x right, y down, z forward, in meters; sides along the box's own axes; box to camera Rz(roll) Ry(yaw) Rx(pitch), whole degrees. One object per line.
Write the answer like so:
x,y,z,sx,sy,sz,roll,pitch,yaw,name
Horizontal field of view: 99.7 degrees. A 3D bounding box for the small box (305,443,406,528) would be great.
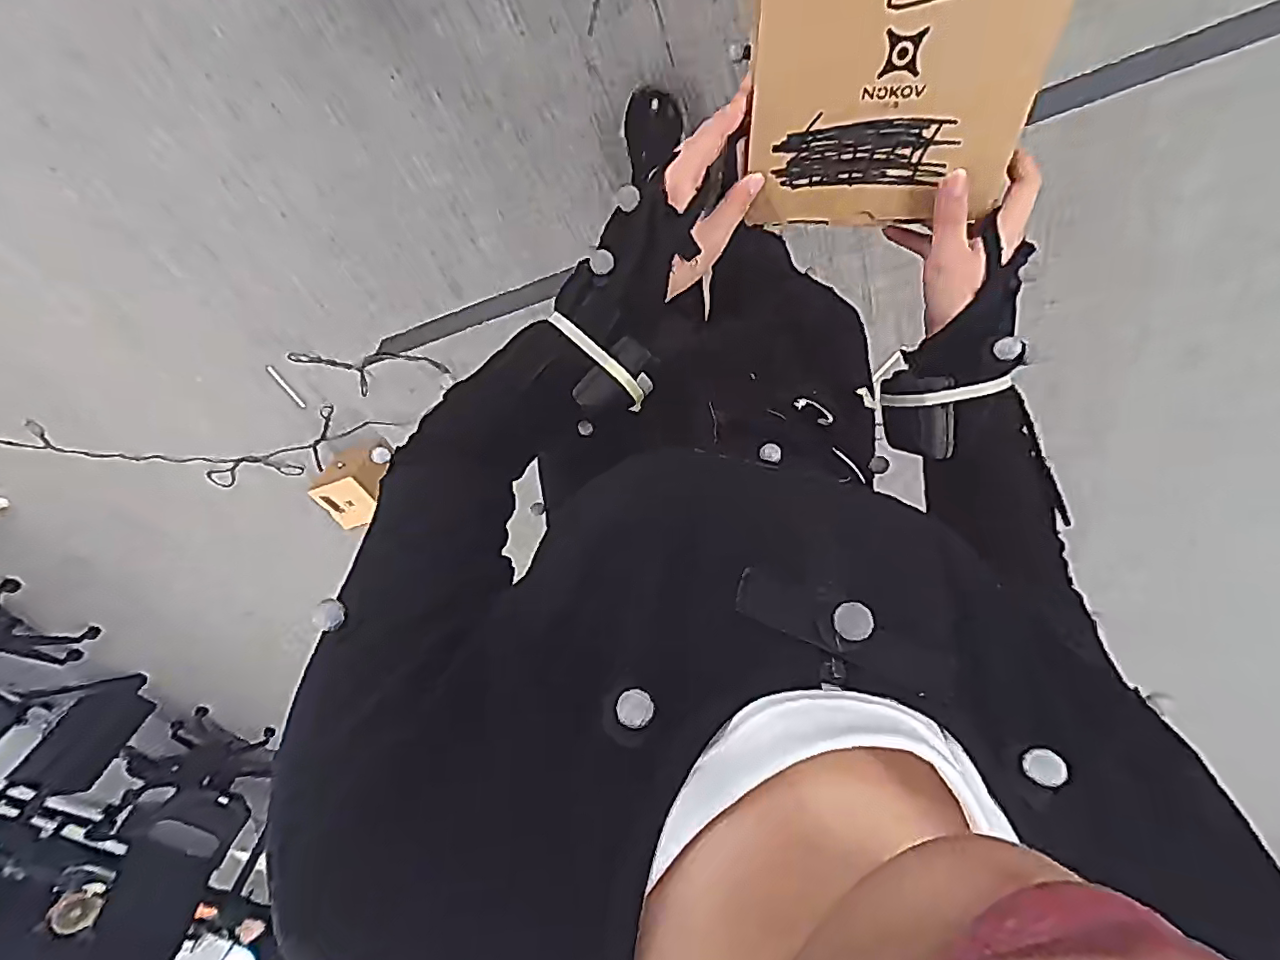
-0.851,0.016,1.633,0.179,0.176,0.168,-16,127,18,small box
